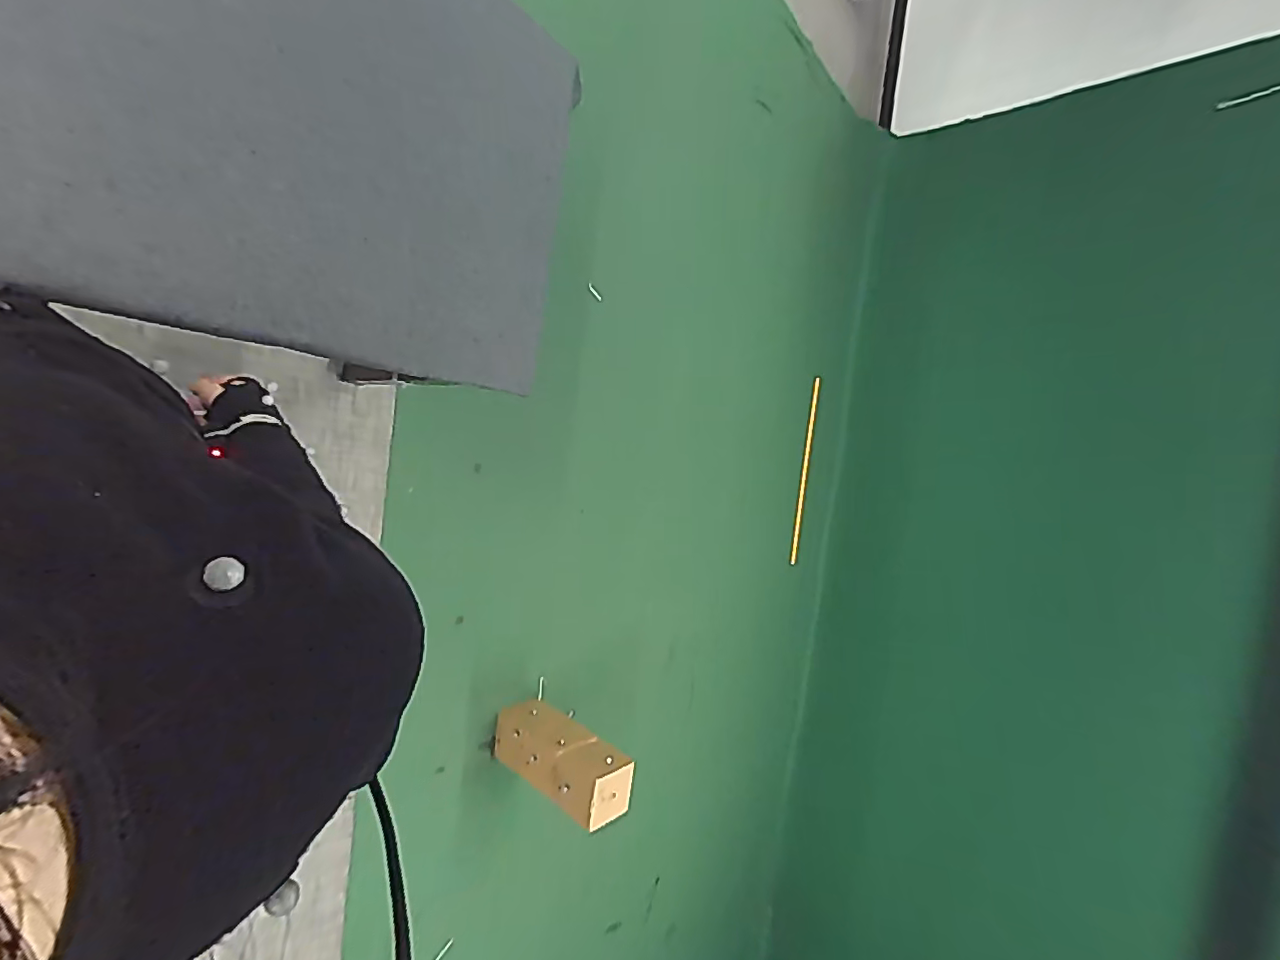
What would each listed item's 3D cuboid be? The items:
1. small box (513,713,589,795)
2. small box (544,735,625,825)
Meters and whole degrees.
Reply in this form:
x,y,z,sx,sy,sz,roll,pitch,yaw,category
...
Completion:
x,y,z,sx,sy,sz,roll,pitch,yaw,category
-0.301,0.914,1.826,0.179,0.176,0.168,4,95,-49,small box
-0.176,0.944,1.722,0.179,0.176,0.168,6,93,-49,small box
